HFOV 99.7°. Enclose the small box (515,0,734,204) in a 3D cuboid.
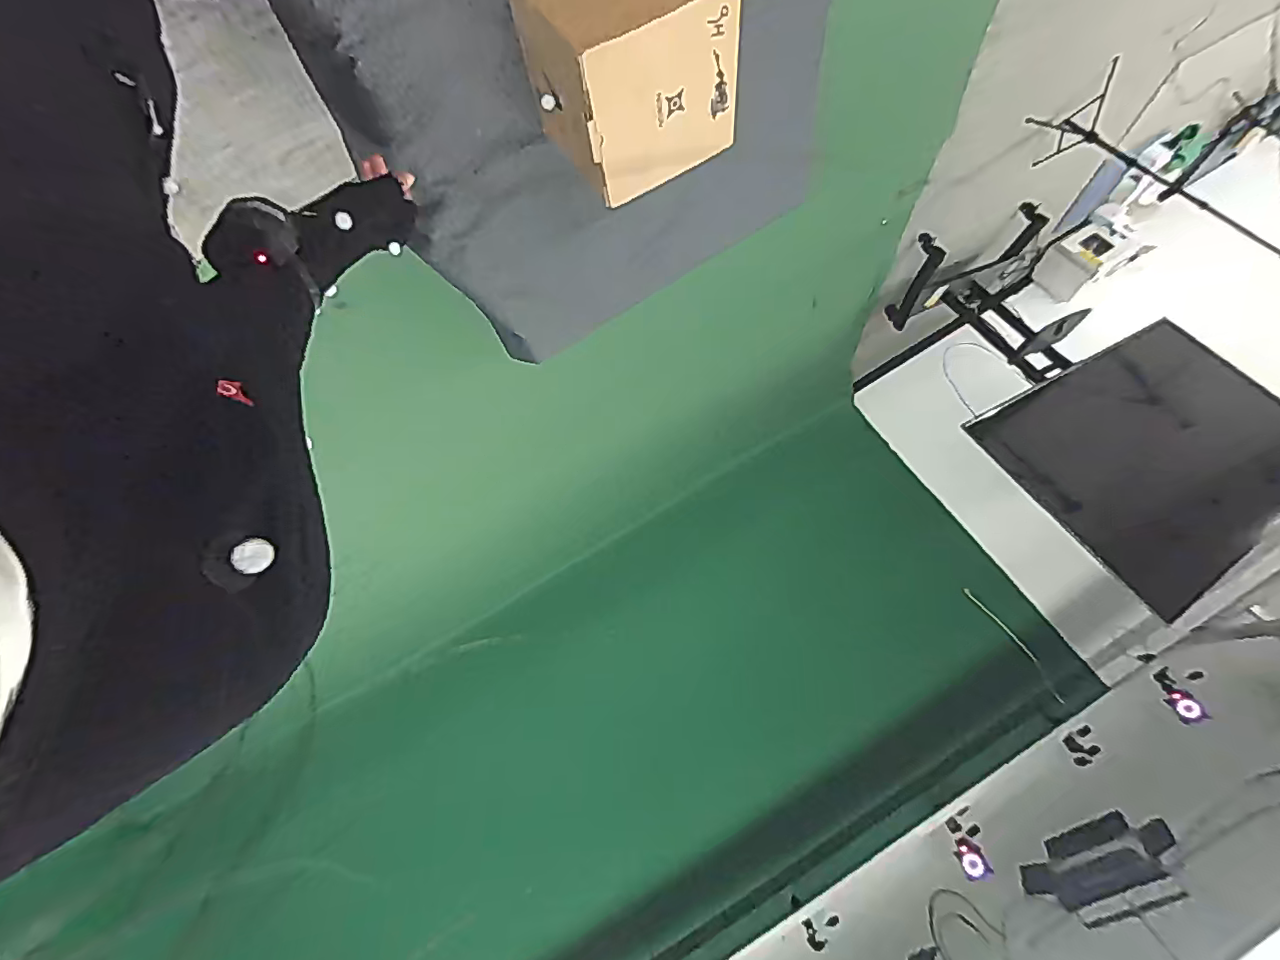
[{"bbox_3d":[-0.018,-0.454,0.594,0.179,0.176,0.168,-31,158,-7],"label":"small box"}]
